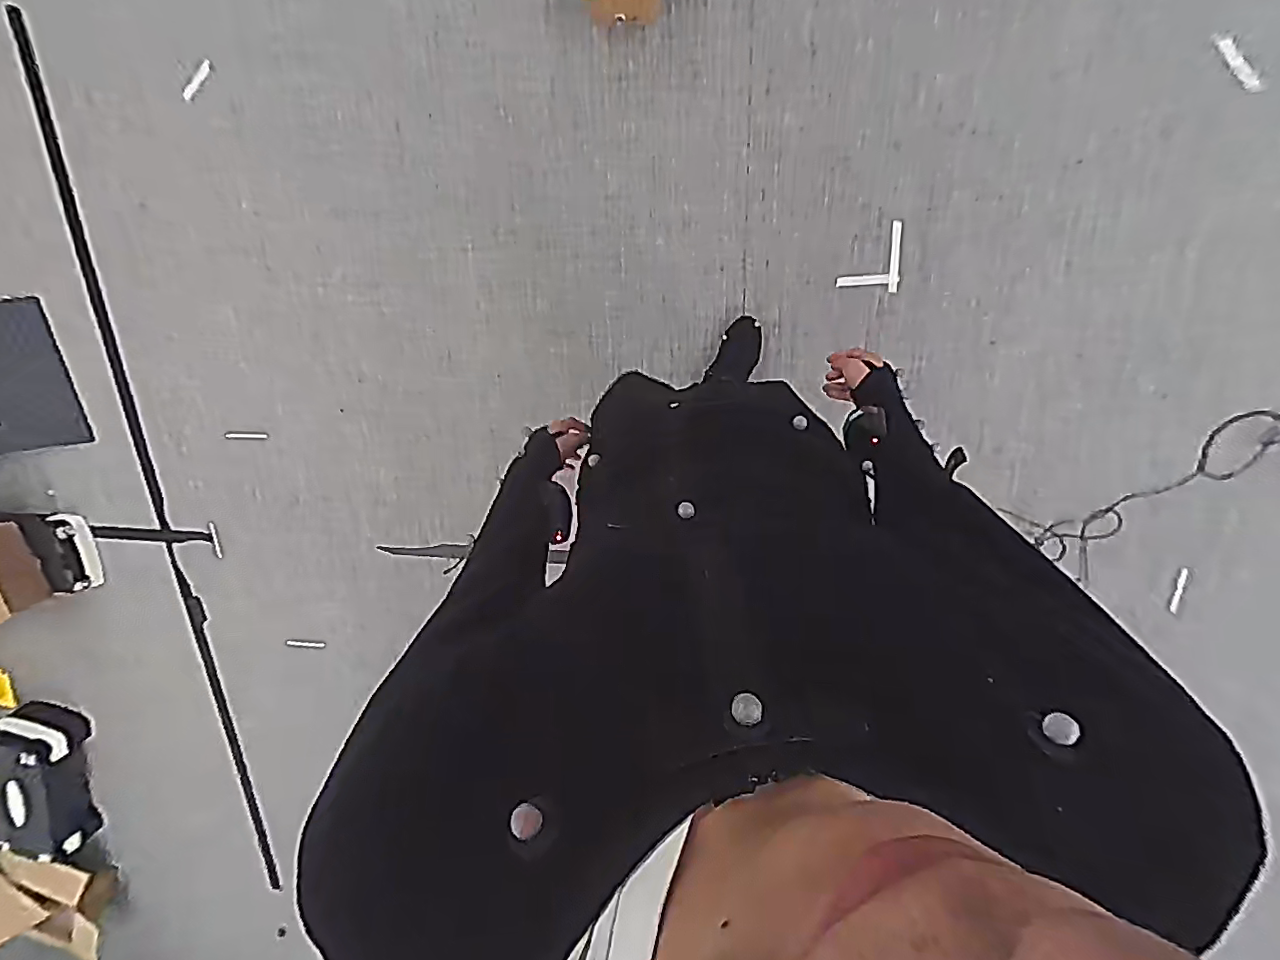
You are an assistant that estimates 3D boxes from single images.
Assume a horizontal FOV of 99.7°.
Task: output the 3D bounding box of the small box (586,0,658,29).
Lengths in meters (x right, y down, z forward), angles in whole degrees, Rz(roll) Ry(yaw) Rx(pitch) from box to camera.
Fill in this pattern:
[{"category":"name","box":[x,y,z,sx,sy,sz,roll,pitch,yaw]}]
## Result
[{"category":"small box","box":[-0.049,-1.185,1.237,0.168,0.176,0.179,-1,107,9]}]
